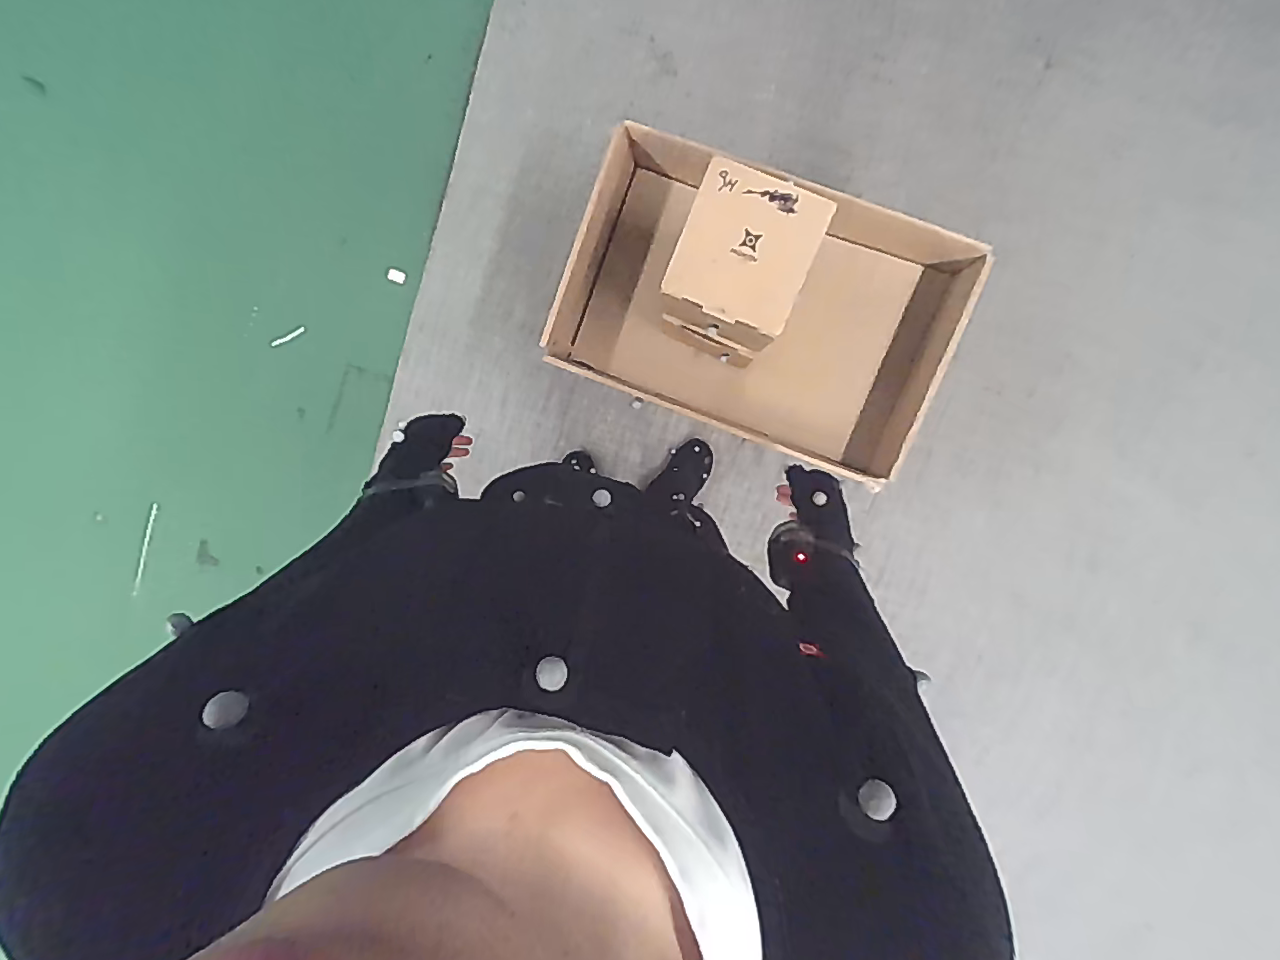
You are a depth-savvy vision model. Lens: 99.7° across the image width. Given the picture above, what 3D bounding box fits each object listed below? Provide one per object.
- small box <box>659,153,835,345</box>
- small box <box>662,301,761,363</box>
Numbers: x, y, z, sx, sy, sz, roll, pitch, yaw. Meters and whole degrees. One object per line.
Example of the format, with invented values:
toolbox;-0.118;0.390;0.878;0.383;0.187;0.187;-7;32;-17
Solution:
small box;0.139;-0.300;0.747;0.168;0.176;0.179;23;99;1
small box;0.148;-0.311;0.911;0.168;0.176;0.179;23;97;1
